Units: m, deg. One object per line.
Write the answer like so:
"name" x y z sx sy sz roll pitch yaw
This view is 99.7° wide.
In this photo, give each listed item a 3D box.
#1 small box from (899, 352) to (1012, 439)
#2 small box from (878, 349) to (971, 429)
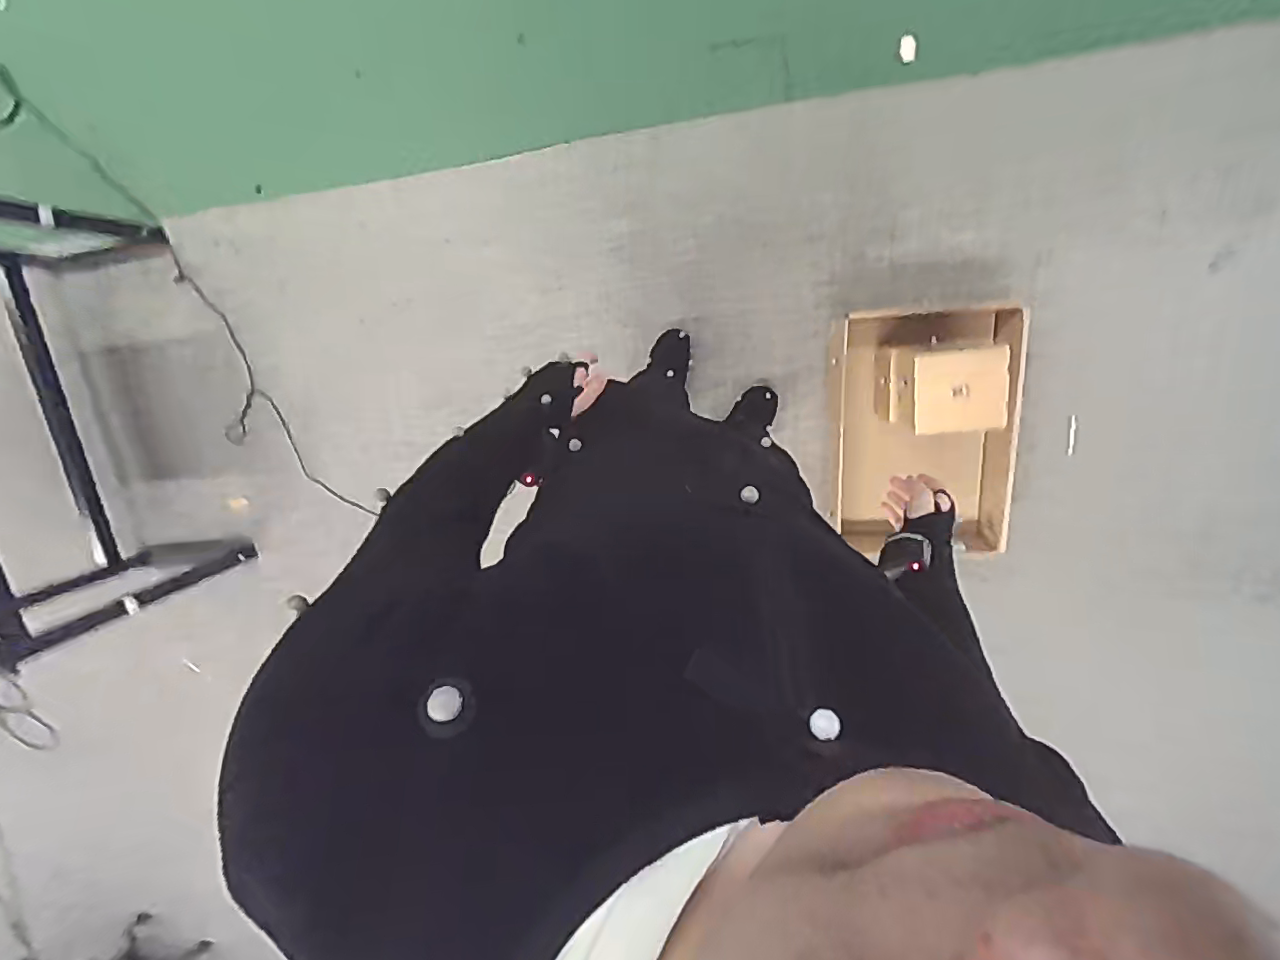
"small box" 0.670 -0.186 1.170 0.179 0.176 0.168 -4 103 13
"small box" 0.689 -0.227 1.327 0.168 0.176 0.179 -1 106 13
